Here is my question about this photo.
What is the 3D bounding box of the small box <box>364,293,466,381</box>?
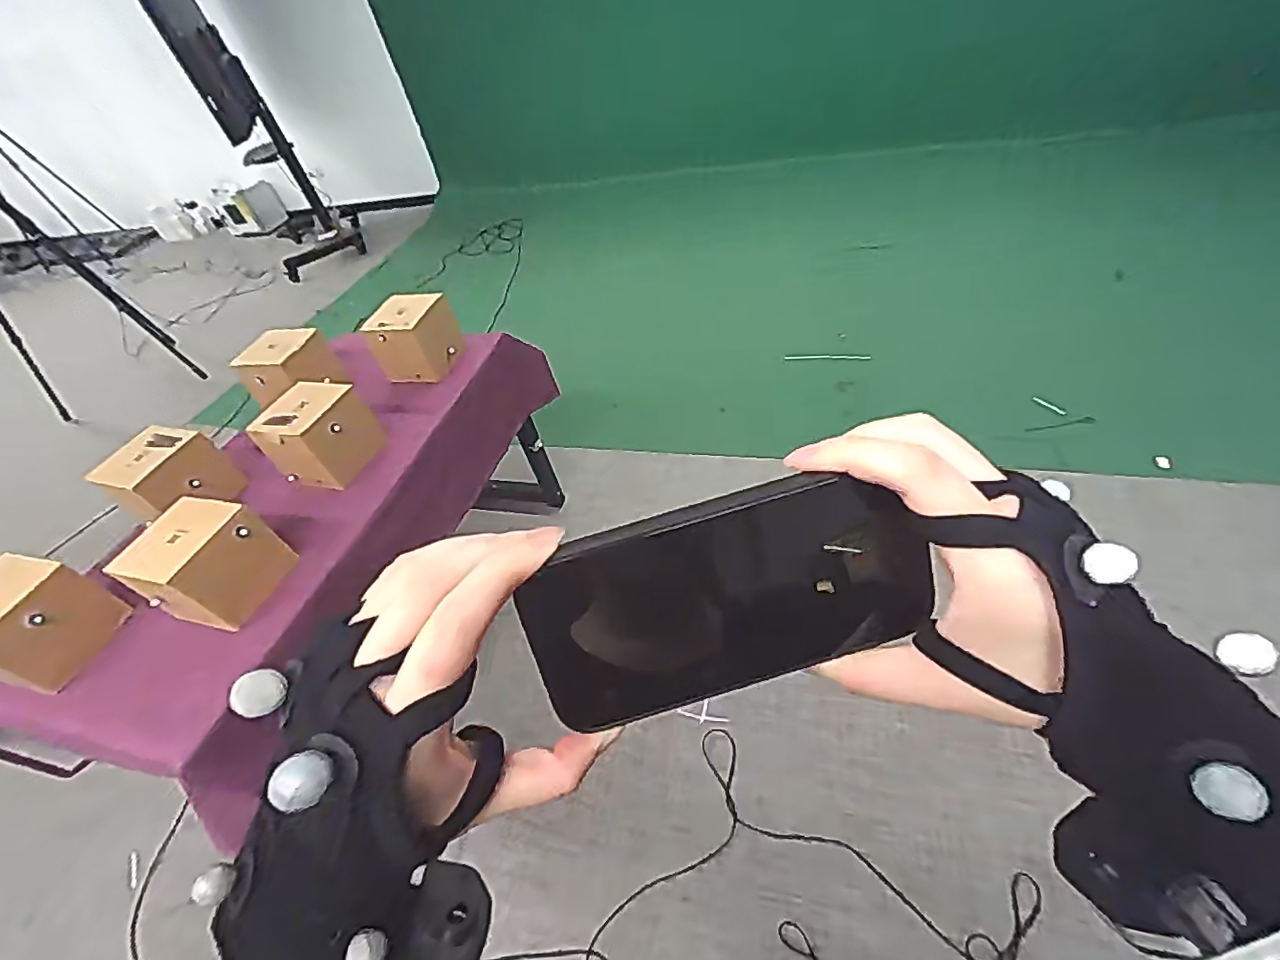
[{"bbox_3d":[-0.604,-0.392,1.481,0.168,0.176,0.179,3,48,17],"label":"small box"}]

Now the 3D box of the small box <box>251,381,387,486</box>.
[{"bbox_3d":[-0.723,-0.107,1.242,0.168,0.176,0.179,7,49,19],"label":"small box"}]

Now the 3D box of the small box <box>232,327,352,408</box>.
[{"bbox_3d":[-0.936,-0.296,1.471,0.179,0.176,0.168,3,49,15],"label":"small box"}]

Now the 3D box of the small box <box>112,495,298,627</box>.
[{"bbox_3d":[-0.799,0.153,1.016,0.168,0.176,0.179,5,48,19],"label":"small box"}]
